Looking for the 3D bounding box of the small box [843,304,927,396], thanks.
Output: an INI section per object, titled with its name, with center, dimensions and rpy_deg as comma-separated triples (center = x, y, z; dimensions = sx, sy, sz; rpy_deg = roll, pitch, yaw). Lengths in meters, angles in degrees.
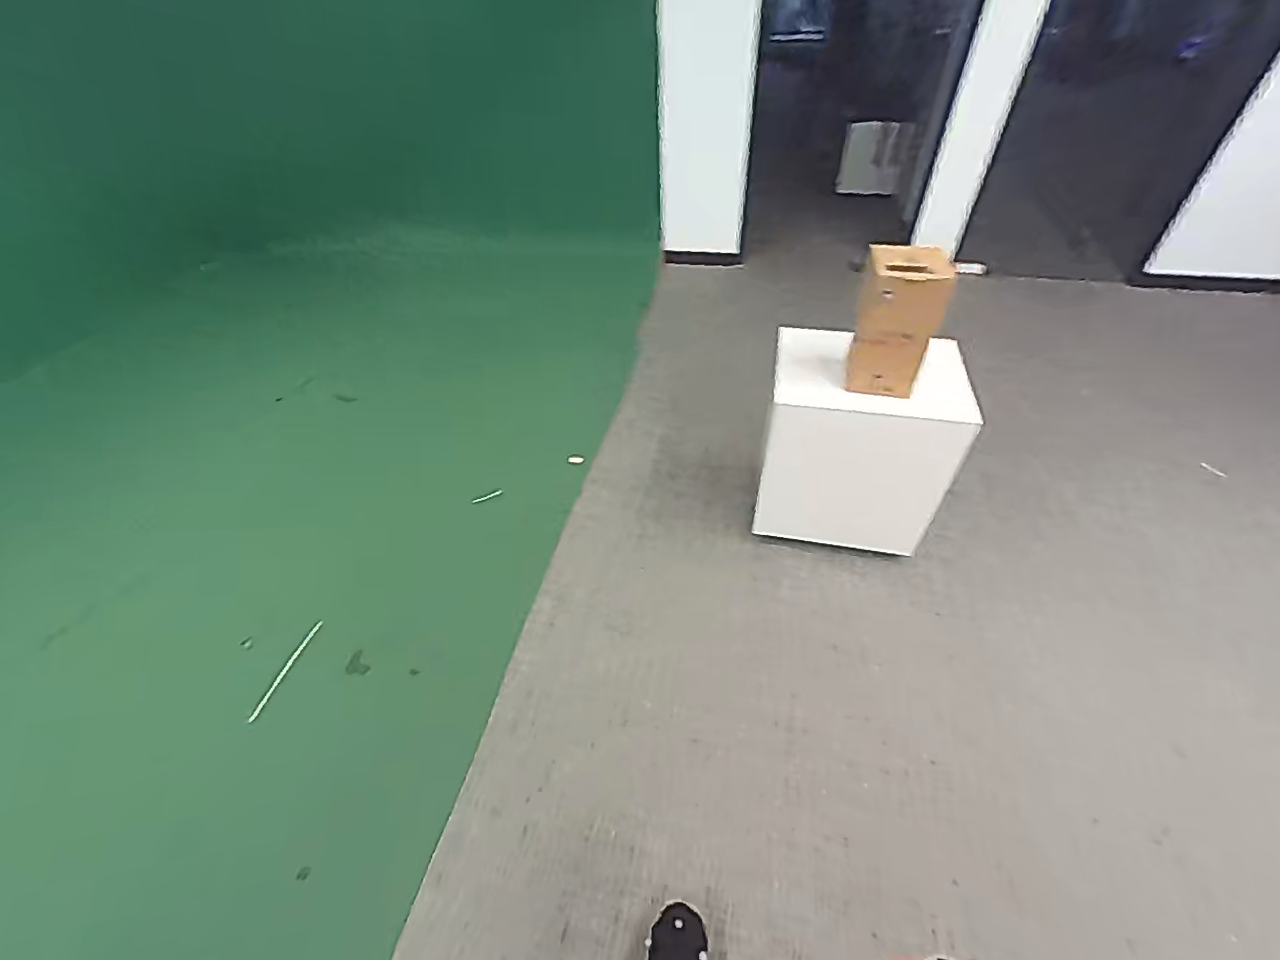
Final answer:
[small box]
center = 0.645, -0.348, 1.446
dimensions = 0.168, 0.176, 0.179
rpy_deg = 8, 46, 12
